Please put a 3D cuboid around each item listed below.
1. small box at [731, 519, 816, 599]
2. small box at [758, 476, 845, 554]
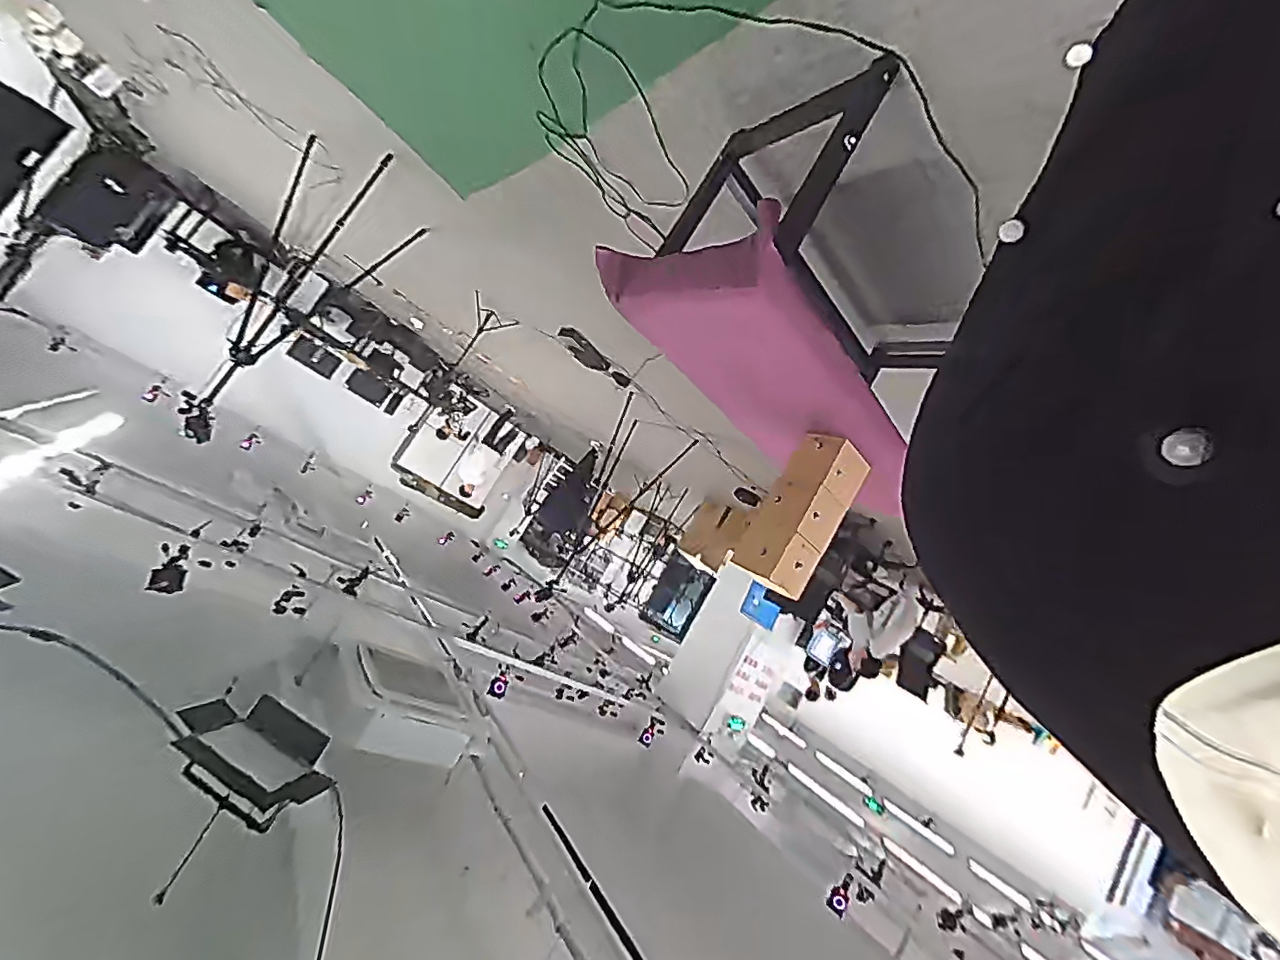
[{"bbox_3d":[0.424,0.241,1.689,0.168,0.176,0.179,38,169,-33],"label":"small box"},{"bbox_3d":[0.512,0.105,1.709,0.179,0.176,0.168,37,170,-35],"label":"small box"}]
